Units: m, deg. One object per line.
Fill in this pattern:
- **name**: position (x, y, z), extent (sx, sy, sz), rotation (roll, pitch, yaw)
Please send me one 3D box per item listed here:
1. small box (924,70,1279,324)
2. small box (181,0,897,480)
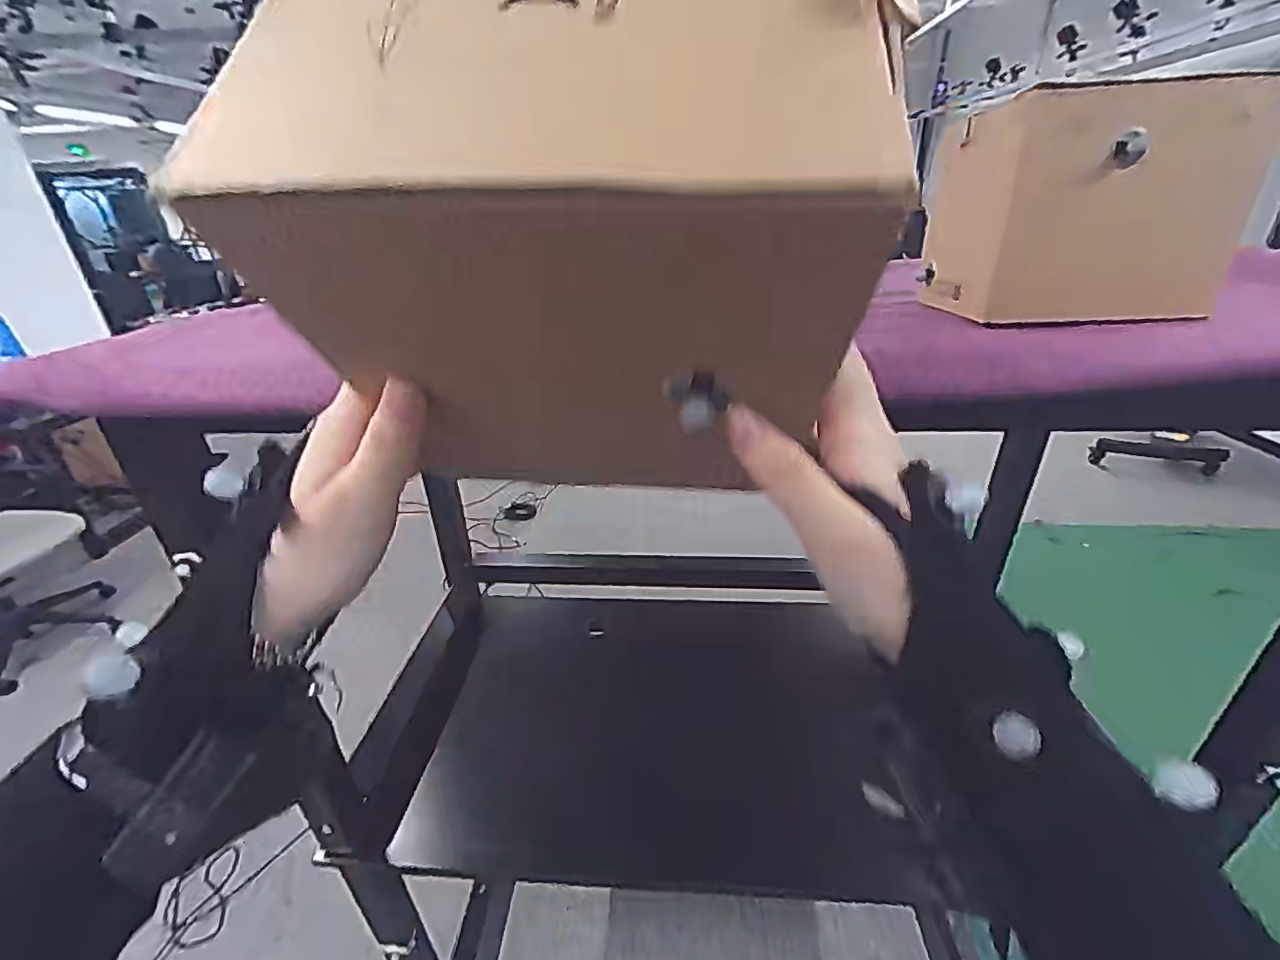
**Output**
- **small box**: position (0.375, -0.237, 0.483), extent (0.179, 0.176, 0.168), rotation (1, 26, 6)
- **small box**: position (-0.017, -0.107, 0.230), extent (0.179, 0.176, 0.168), rotation (2, 66, 6)
